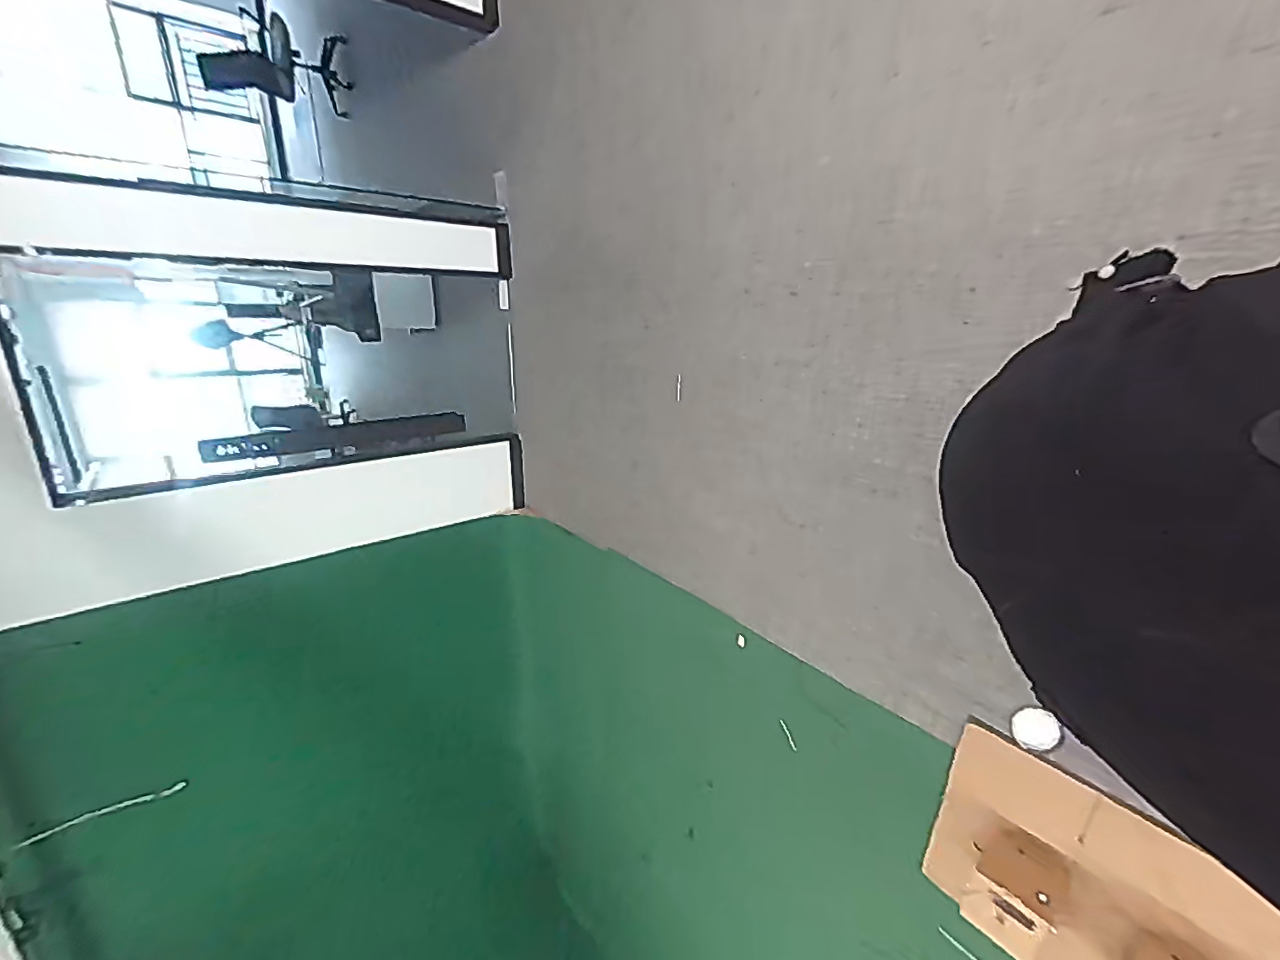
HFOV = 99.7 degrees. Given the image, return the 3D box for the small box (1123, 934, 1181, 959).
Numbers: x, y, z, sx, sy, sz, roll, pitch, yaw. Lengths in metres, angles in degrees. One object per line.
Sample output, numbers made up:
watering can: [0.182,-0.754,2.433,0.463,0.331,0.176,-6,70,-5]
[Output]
small box: [1.145,1.157,1.173,0.168,0.176,0.179,25,120,45]
